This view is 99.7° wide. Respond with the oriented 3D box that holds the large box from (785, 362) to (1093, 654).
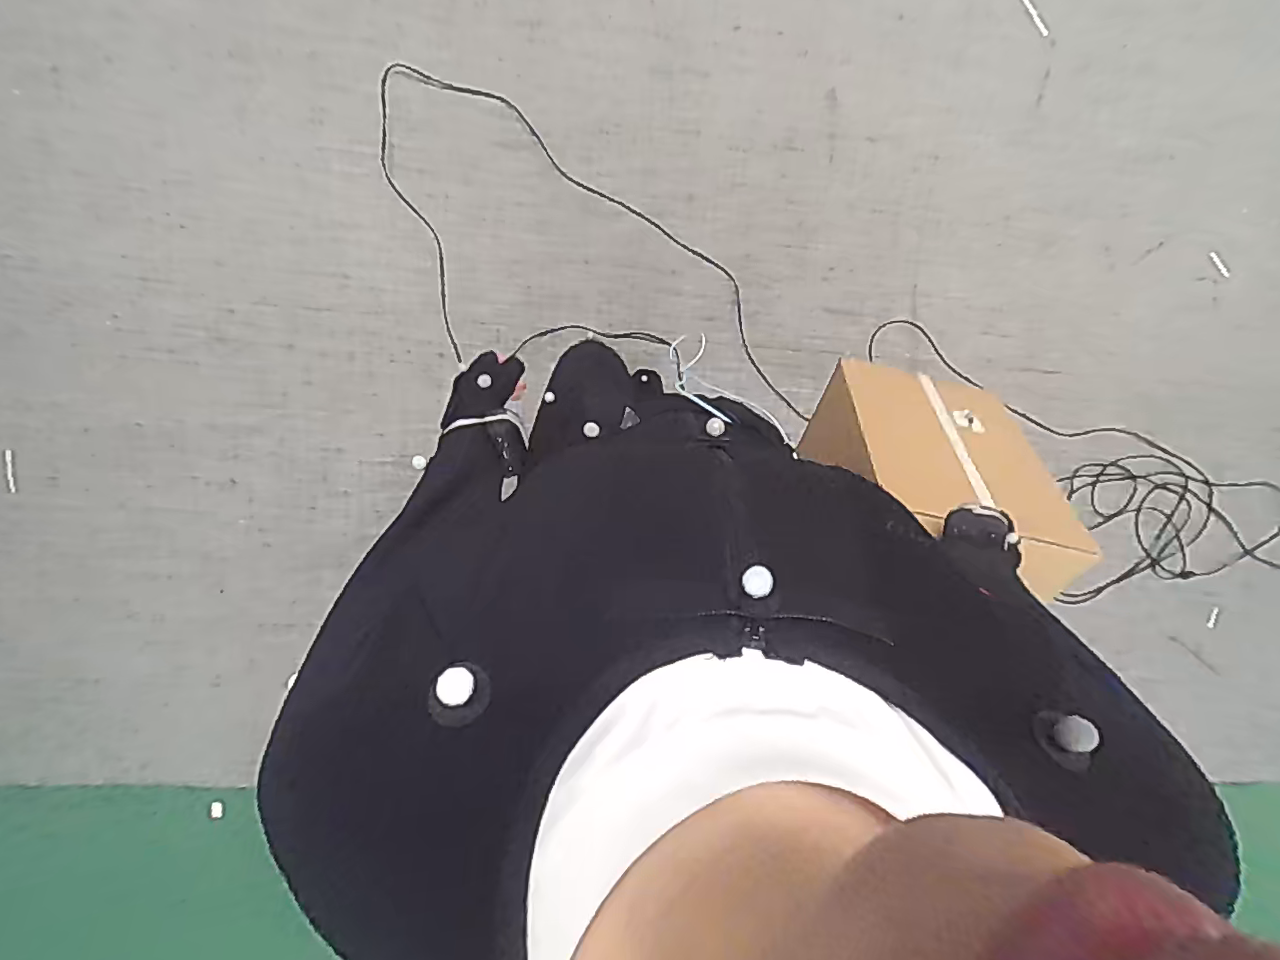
[{"bbox_3d":[0.476,0.045,0.985,0.320,0.408,0.320,13,133,-2],"label":"large box"}]
